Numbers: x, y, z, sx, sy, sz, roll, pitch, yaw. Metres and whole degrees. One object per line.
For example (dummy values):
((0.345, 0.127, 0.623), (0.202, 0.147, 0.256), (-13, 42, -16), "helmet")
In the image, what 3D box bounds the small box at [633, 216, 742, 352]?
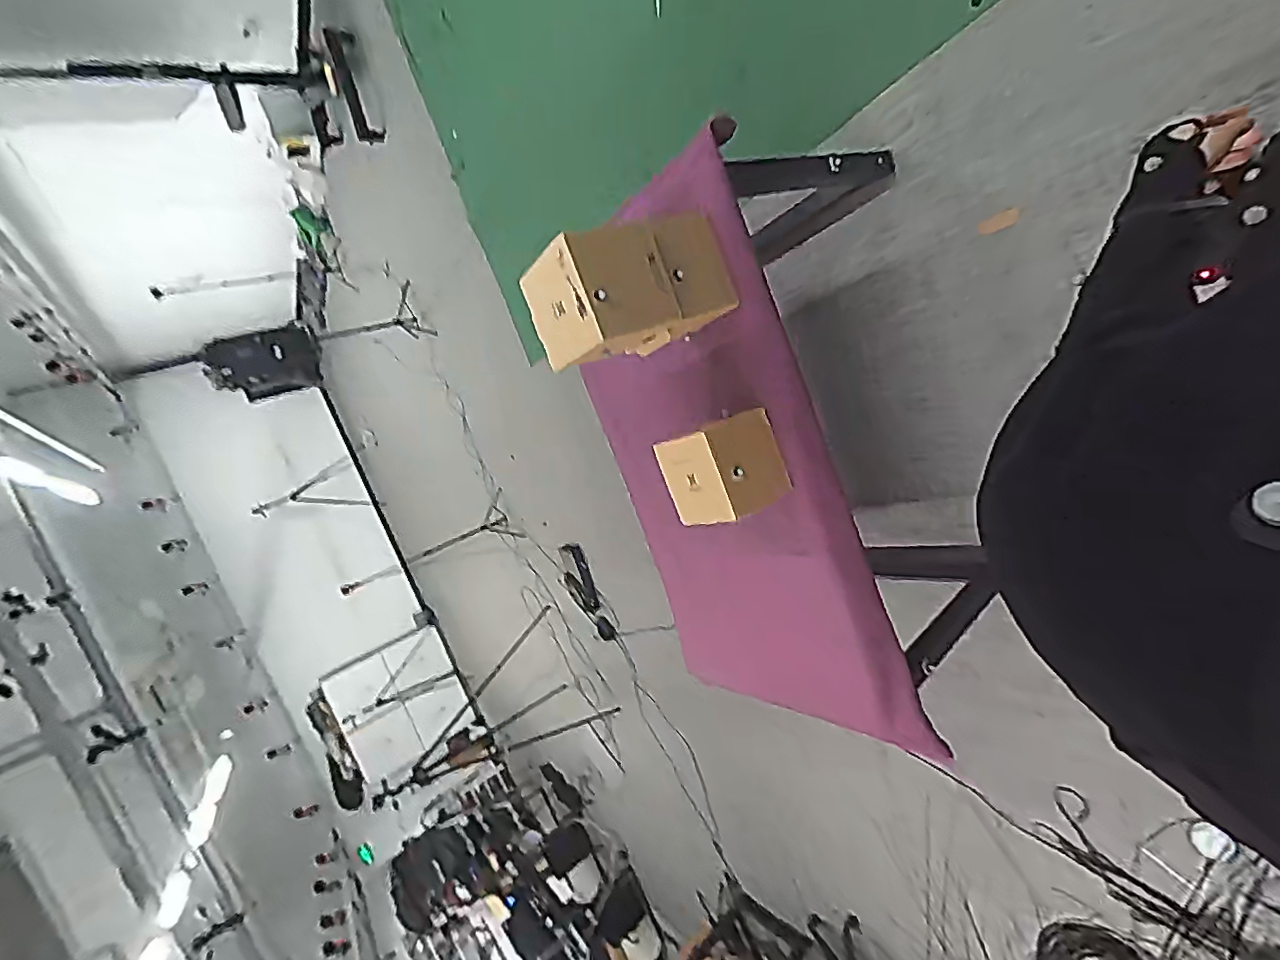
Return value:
((0.061, -0.365, 1.006), (0.168, 0.176, 0.179), (-16, 98, 57), "small box")

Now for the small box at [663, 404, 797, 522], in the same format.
((0.181, -0.031, 1.067), (0.168, 0.176, 0.179), (-11, 102, 57), "small box")

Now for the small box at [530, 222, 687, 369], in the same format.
((-0.053, -0.305, 0.903), (0.179, 0.176, 0.168), (-11, 103, 57), "small box")
